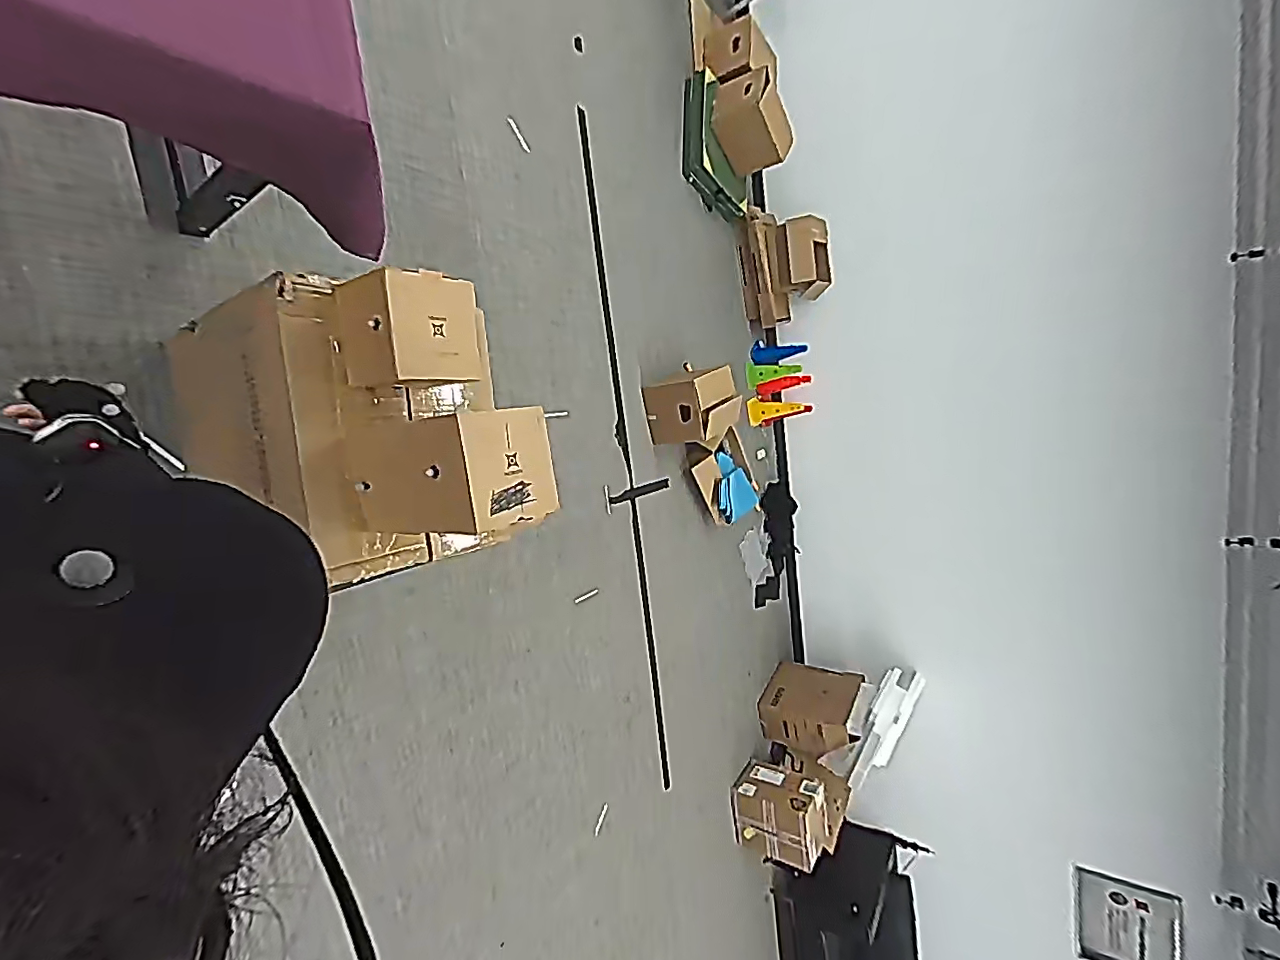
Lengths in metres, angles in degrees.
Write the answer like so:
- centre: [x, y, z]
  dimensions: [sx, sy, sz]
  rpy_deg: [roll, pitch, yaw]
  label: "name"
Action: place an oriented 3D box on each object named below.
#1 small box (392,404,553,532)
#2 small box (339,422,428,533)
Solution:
- centre: [-0.264, -0.022, 0.855]
  dimensions: [0.168, 0.176, 0.179]
  rpy_deg: [-16, 100, -53]
  label: "small box"
- centre: [-0.396, -0.018, 0.954]
  dimensions: [0.168, 0.176, 0.179]
  rpy_deg: [-24, 108, -52]
  label: "small box"
